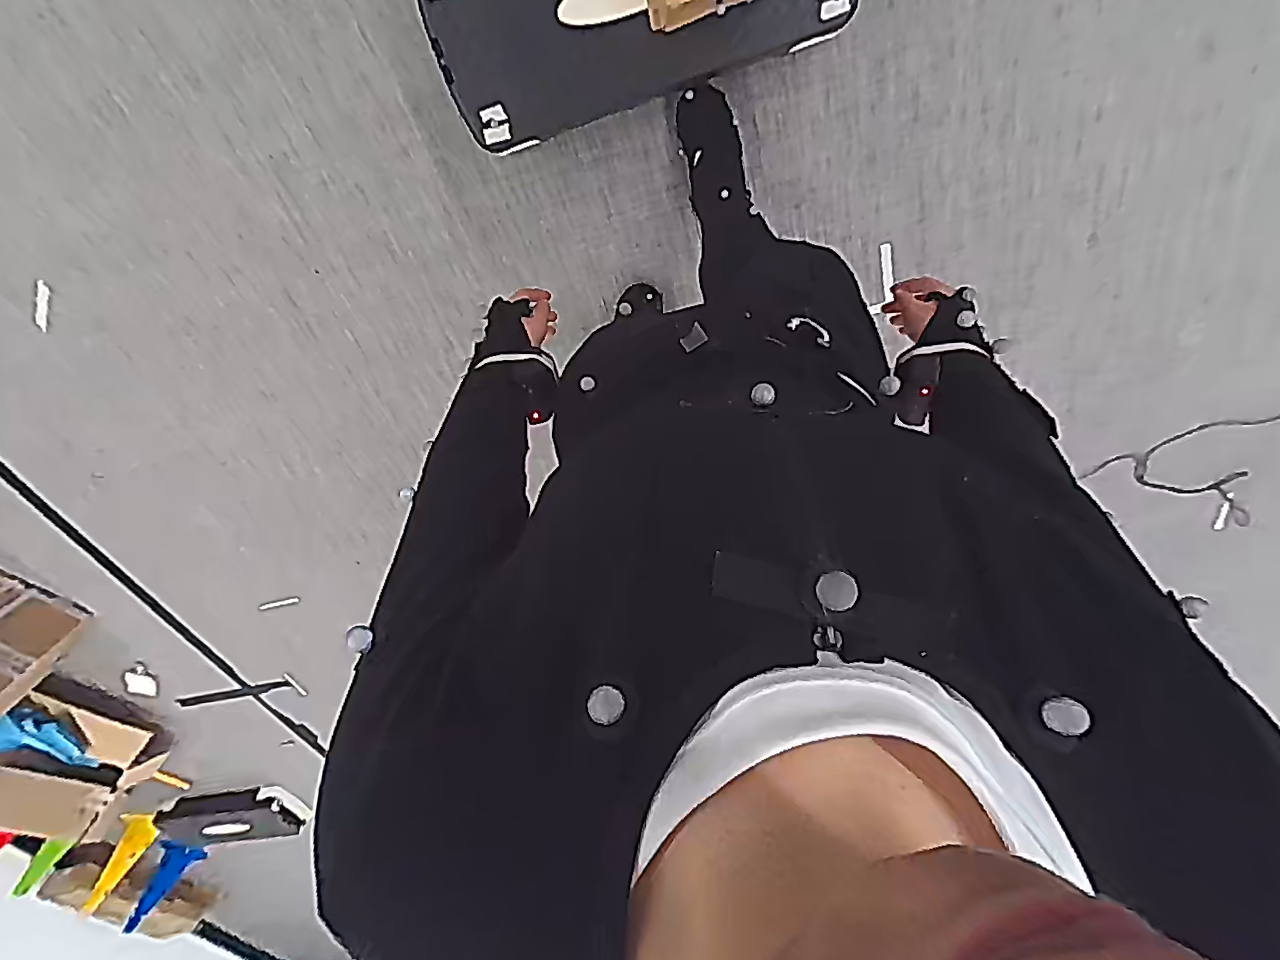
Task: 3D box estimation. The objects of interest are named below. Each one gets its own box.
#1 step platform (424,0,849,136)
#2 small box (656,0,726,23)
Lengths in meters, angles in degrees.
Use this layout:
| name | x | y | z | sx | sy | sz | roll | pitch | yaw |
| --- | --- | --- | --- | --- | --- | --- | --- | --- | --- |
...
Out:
| name | x | y | z | sx | sy | sz | roll | pitch | yaw |
| --- | --- | --- | --- | --- | --- | --- | --- | --- | --- |
| step platform | -0.002 | -0.818 | 0.870 | 0.684 | 0.204 | 0.286 | -13 | 122 | 10 |
| small box | 0.079 | -0.640 | 0.583 | 0.168 | 0.176 | 0.179 | -16 | 123 | 10 |
